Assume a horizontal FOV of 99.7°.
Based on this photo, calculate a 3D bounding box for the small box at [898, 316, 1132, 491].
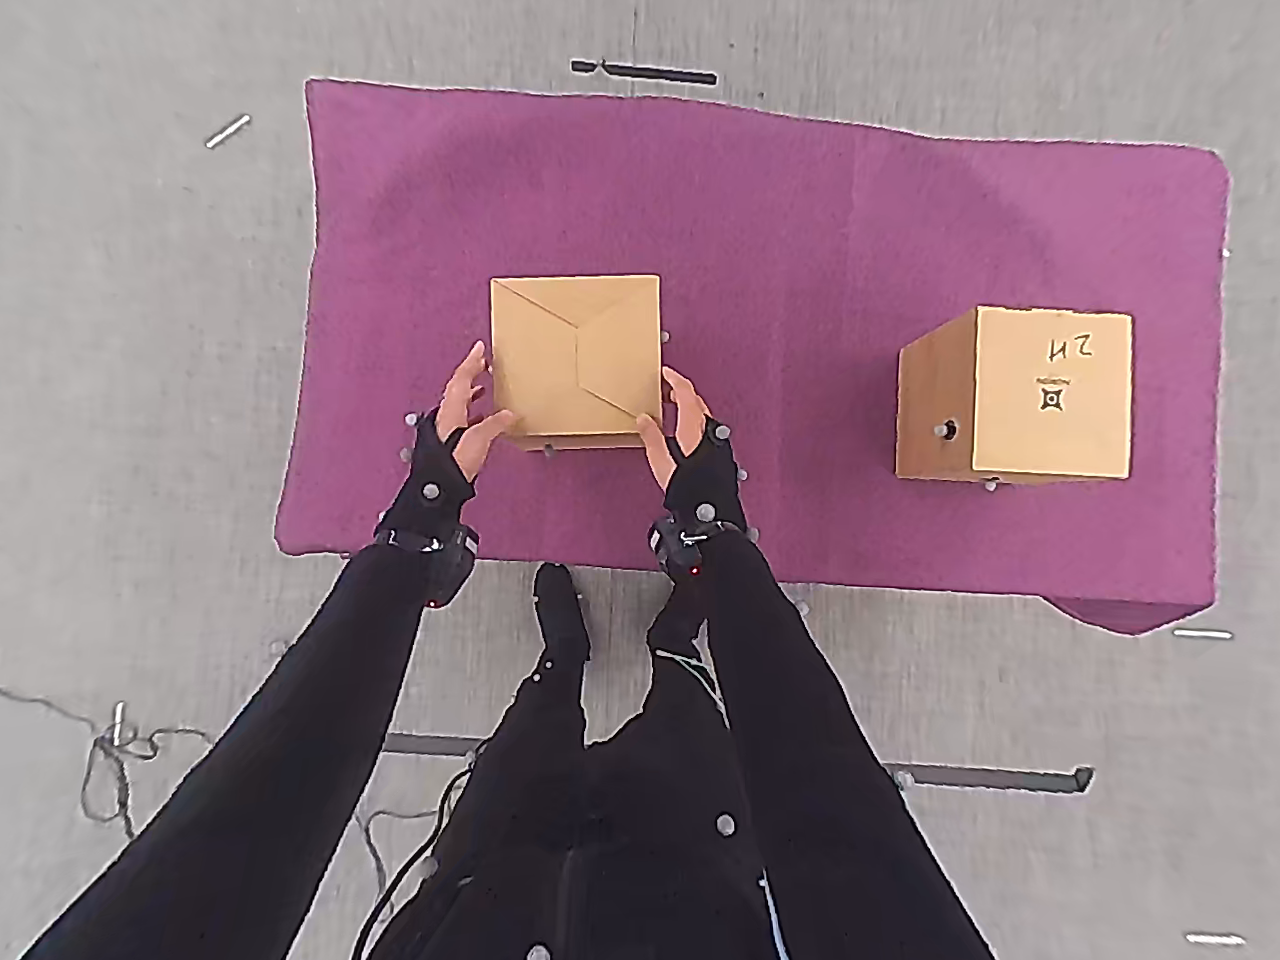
[{"bbox_3d":[0.429,-0.078,0.647,0.168,0.176,0.179,4,88,-1],"label":"small box"}]
